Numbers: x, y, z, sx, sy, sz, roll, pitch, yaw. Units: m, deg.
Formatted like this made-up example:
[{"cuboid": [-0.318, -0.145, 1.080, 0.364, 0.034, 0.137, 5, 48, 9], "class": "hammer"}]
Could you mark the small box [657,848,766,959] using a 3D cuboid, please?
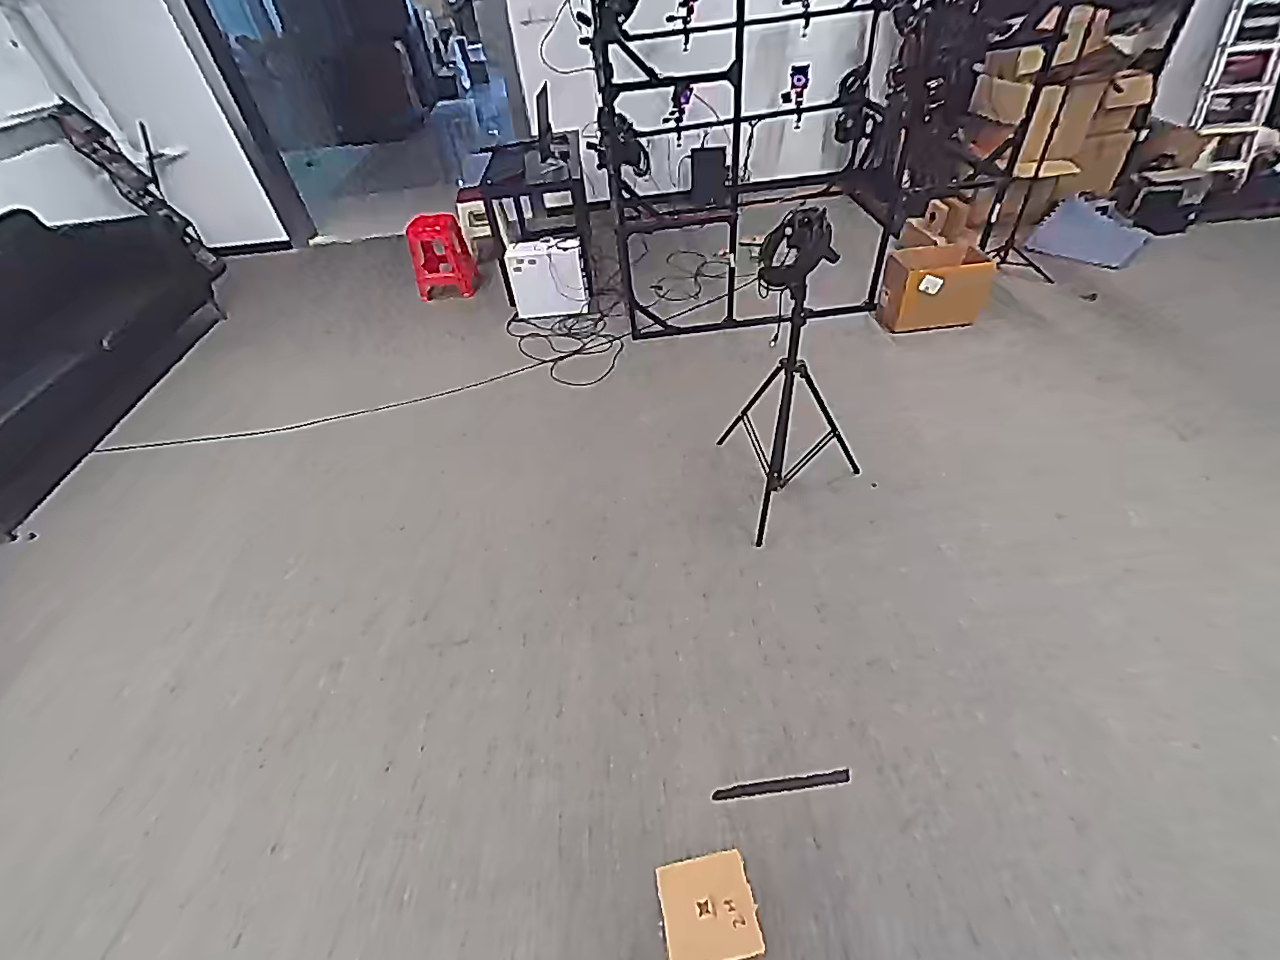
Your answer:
[{"cuboid": [0.140, 0.866, 1.076, 0.179, 0.176, 0.168, -11, 44, -3], "class": "small box"}]
